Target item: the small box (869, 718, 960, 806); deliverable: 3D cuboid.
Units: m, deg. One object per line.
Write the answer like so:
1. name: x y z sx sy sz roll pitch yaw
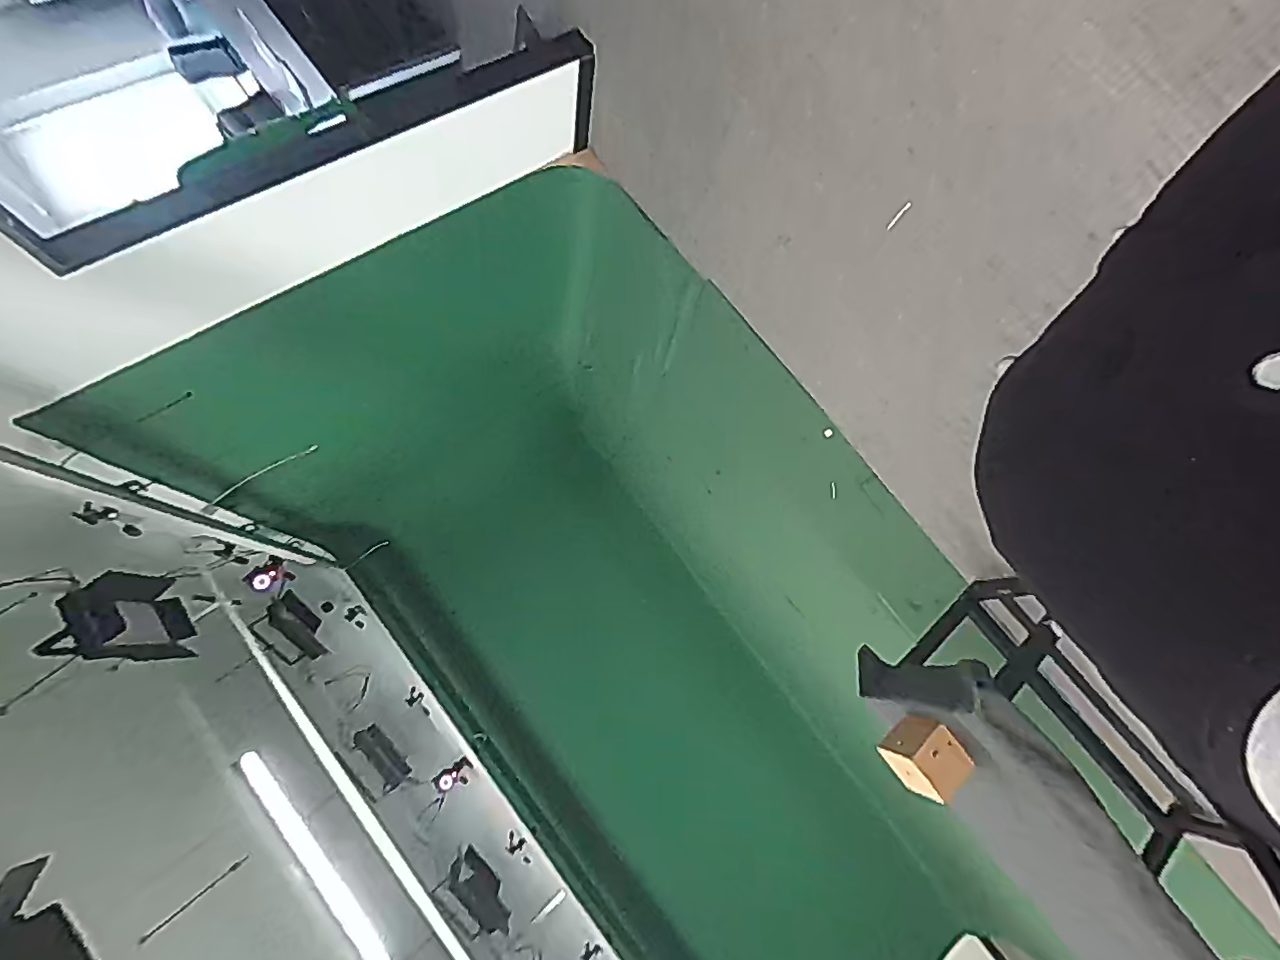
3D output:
1. small box: 0.894 0.901 1.749 0.168 0.176 0.179 53 163 5
